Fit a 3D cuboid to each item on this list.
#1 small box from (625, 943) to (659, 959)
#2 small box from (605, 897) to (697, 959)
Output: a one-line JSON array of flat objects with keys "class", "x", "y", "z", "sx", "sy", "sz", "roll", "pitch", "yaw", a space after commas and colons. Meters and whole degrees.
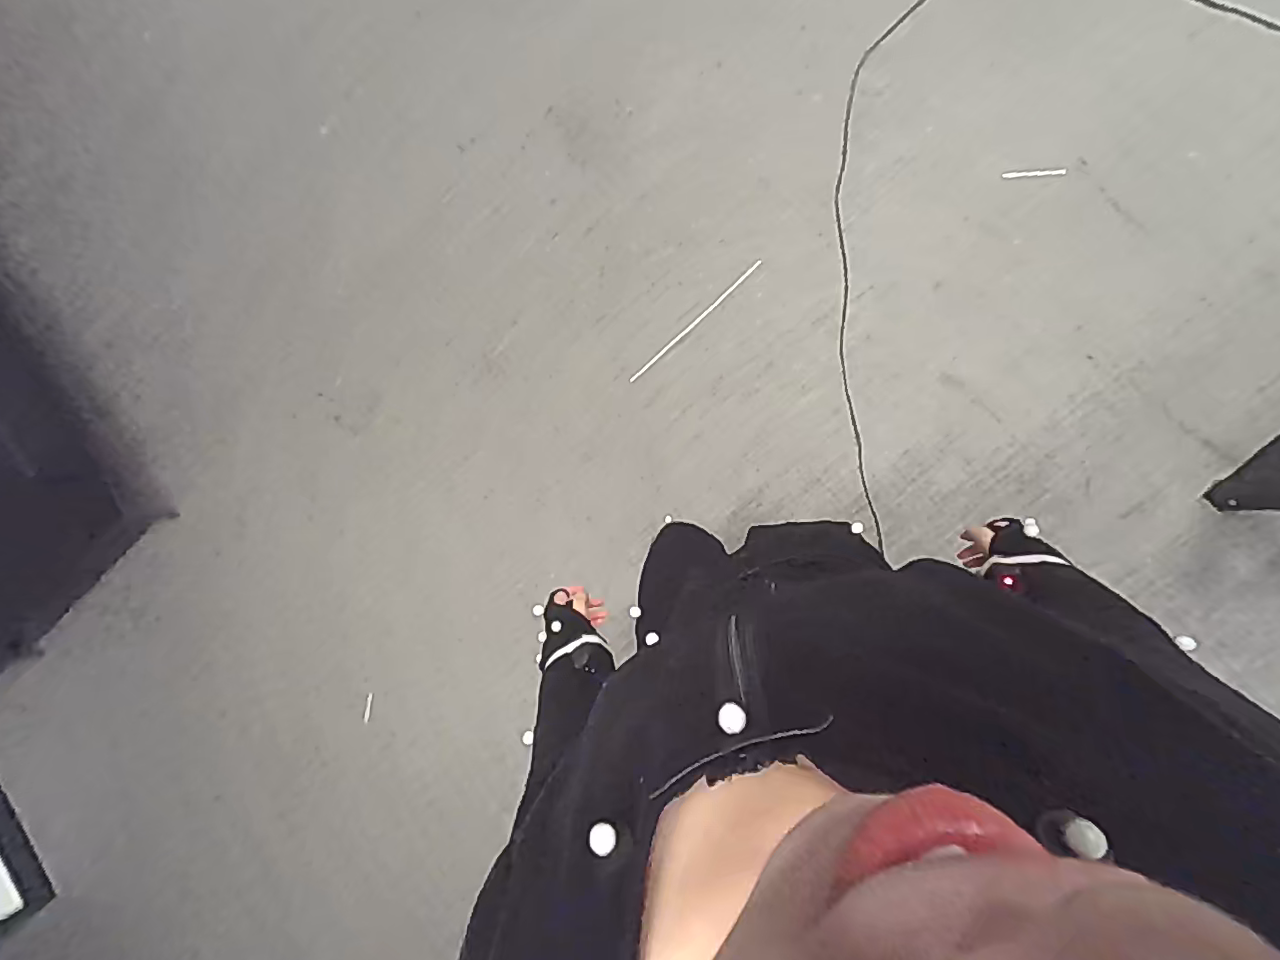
[{"class": "small box", "x": -0.008, "y": 1.231, "z": 1.234, "sx": 0.168, "sy": 0.176, "sz": 0.179, "roll": 45, "pitch": 97, "yaw": 12}, {"class": "small box", "x": 0.028, "y": 1.246, "z": 1.395, "sx": 0.179, "sy": 0.176, "sz": 0.168, "roll": 45, "pitch": 97, "yaw": 12}]
